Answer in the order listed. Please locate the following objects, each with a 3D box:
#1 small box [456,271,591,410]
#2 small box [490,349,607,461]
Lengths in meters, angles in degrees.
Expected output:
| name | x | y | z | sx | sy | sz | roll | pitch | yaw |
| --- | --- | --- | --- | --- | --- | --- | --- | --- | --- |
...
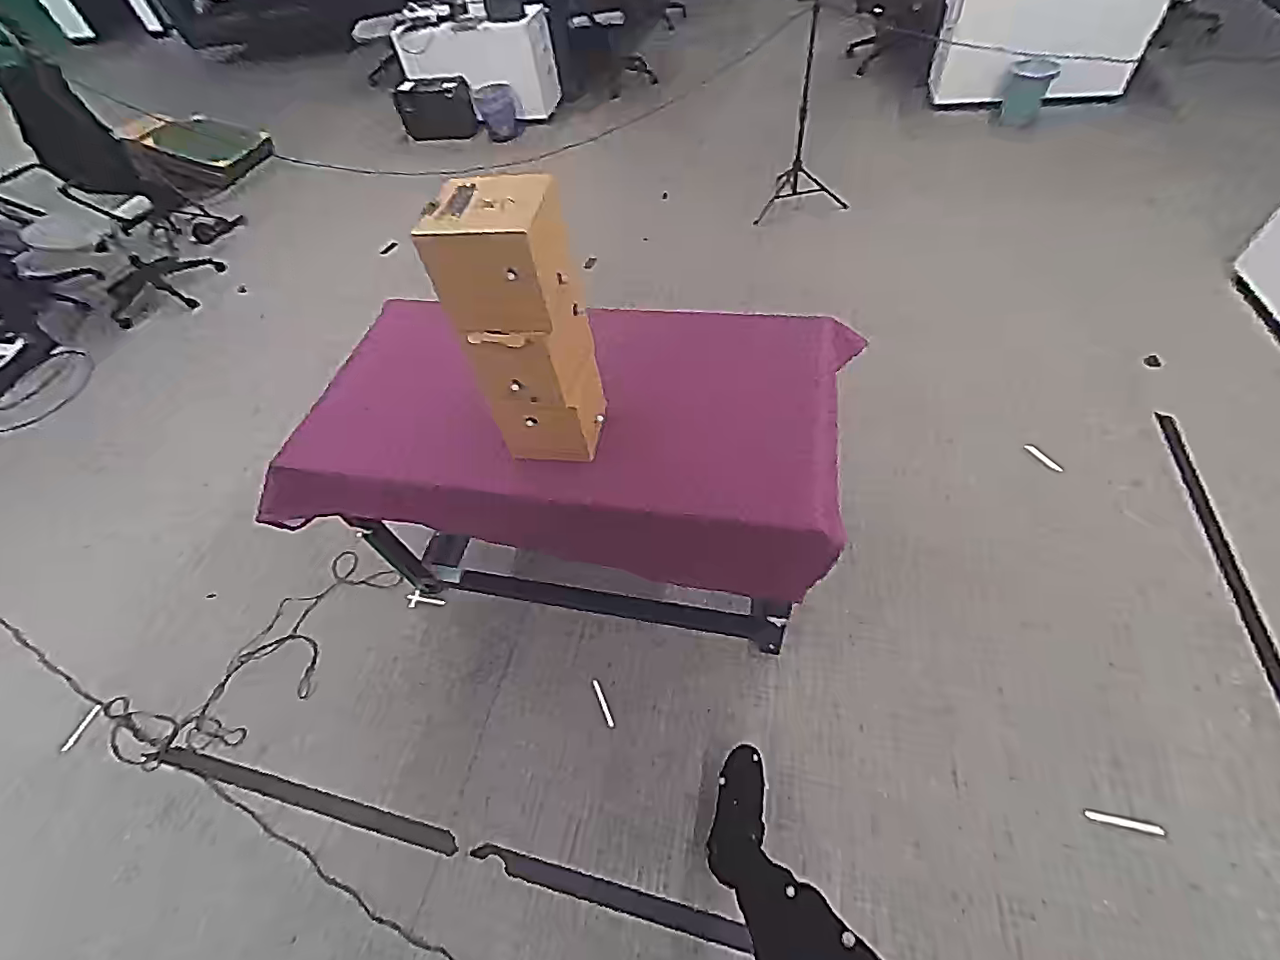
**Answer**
| name | x | y | z | sx | sy | sz | roll | pitch | yaw |
| --- | --- | --- | --- | --- | --- | --- | --- | --- | --- |
| small box | -0.198 | -0.254 | 0.983 | 0.168 | 0.176 | 0.179 | 8 | 55 | 14 |
| small box | -0.179 | -0.153 | 1.112 | 0.179 | 0.176 | 0.168 | 3 | 55 | 10 |
